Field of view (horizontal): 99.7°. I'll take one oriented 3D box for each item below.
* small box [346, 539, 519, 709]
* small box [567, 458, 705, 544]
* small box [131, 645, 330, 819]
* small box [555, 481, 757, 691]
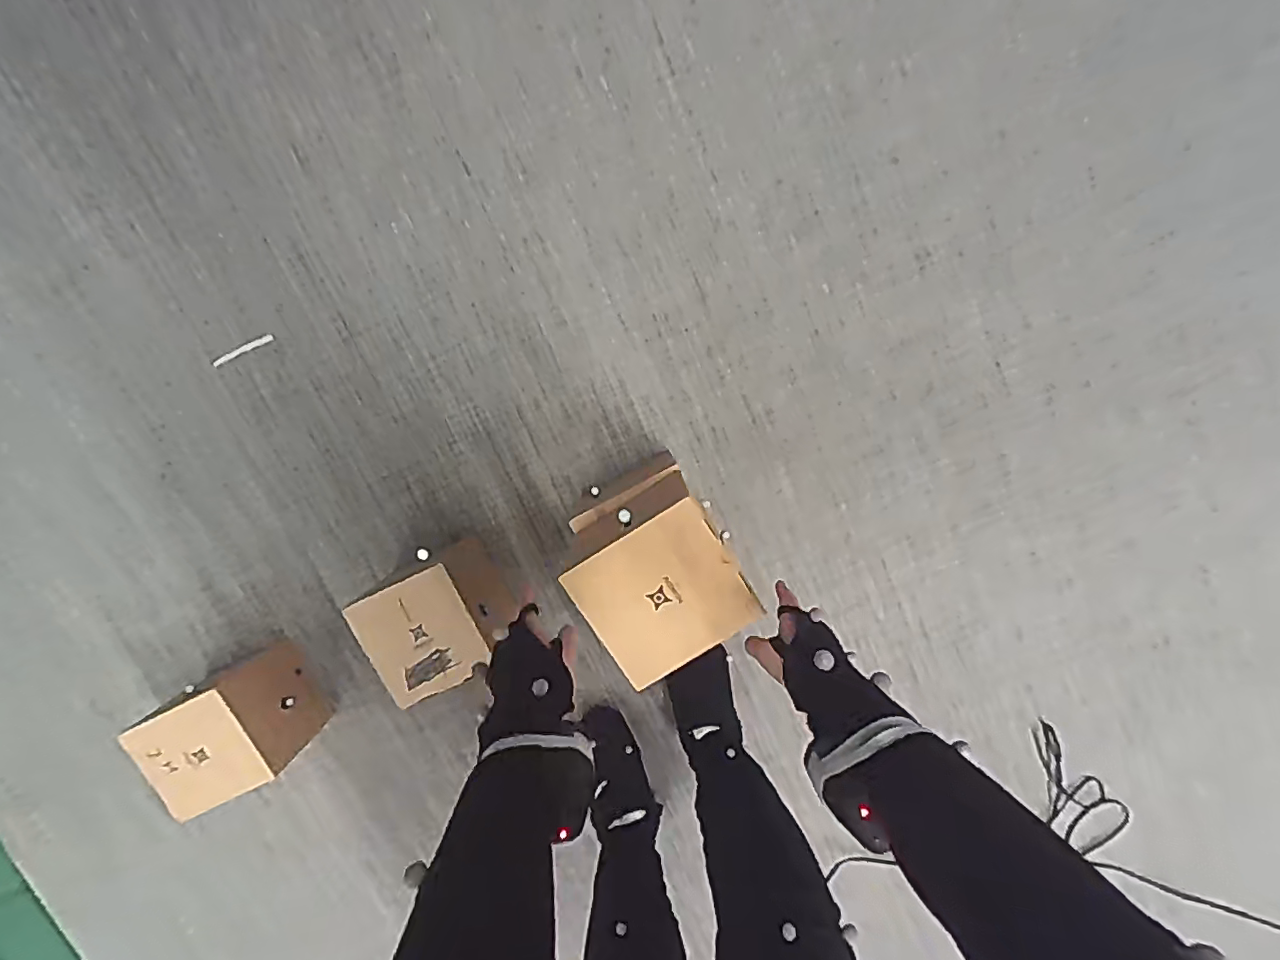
[{"bbox_3d":[-0.315,0.219,0.865,0.168,0.176,0.179,-25,98,4],"label":"small box"},{"bbox_3d":[0.010,0.081,0.841,0.179,0.176,0.168,-28,99,4],"label":"small box"},{"bbox_3d":[-0.656,0.405,0.898,0.179,0.176,0.168,-26,98,4],"label":"small box"},{"bbox_3d":[0.019,0.121,0.684,0.179,0.176,0.168,-33,98,5],"label":"small box"}]
